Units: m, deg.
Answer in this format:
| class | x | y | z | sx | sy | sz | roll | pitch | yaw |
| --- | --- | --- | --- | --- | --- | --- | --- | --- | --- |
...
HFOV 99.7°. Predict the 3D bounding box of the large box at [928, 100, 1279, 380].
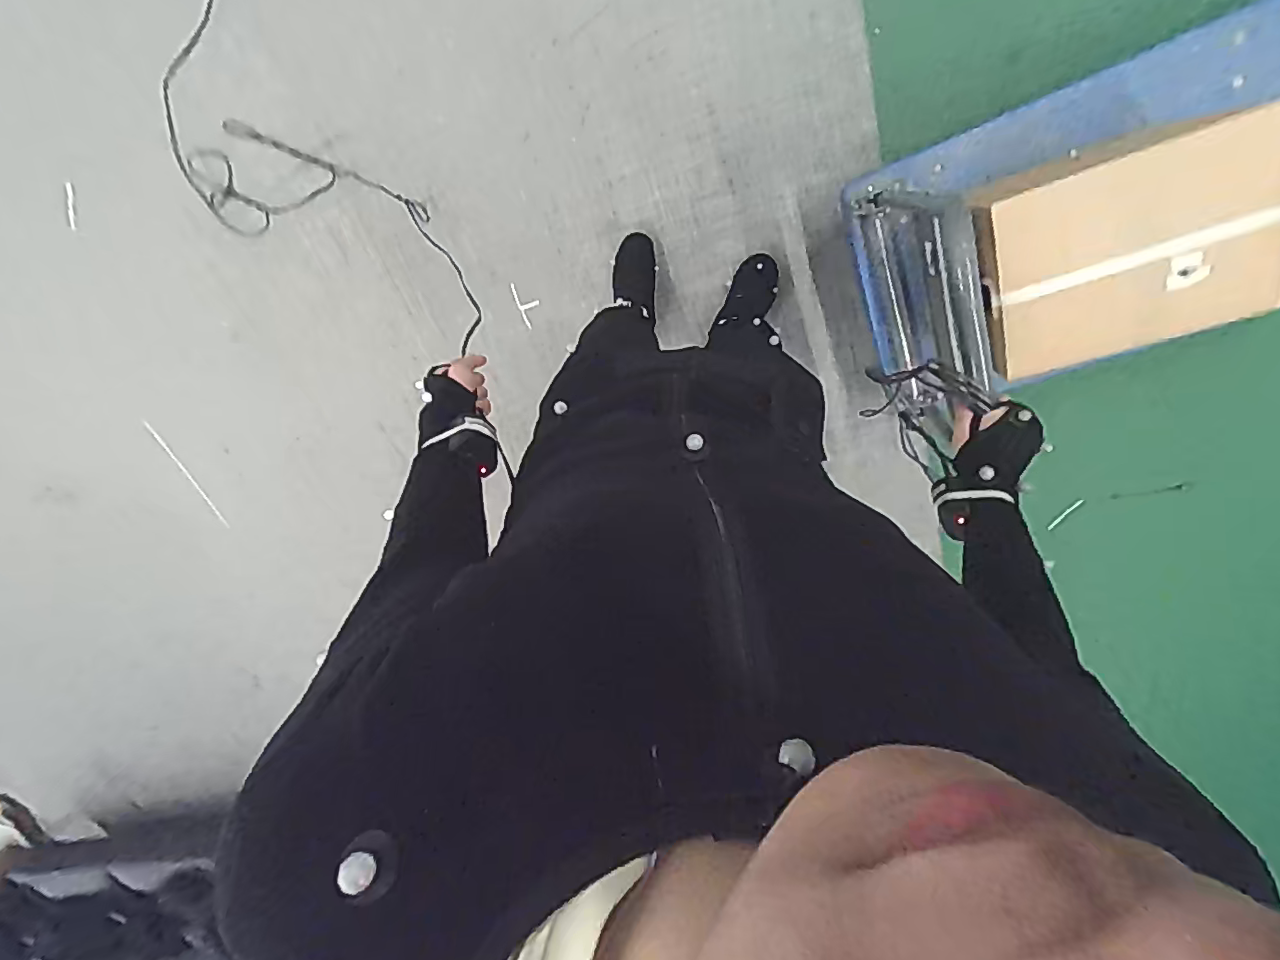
| class | x | y | z | sx | sy | sz | roll | pitch | yaw |
| --- | --- | --- | --- | --- | --- | --- | --- | --- | --- |
| large box | 0.818 | -0.427 | 1.007 | 0.408 | 0.320 | 0.320 | -15 | 114 | 15 |
